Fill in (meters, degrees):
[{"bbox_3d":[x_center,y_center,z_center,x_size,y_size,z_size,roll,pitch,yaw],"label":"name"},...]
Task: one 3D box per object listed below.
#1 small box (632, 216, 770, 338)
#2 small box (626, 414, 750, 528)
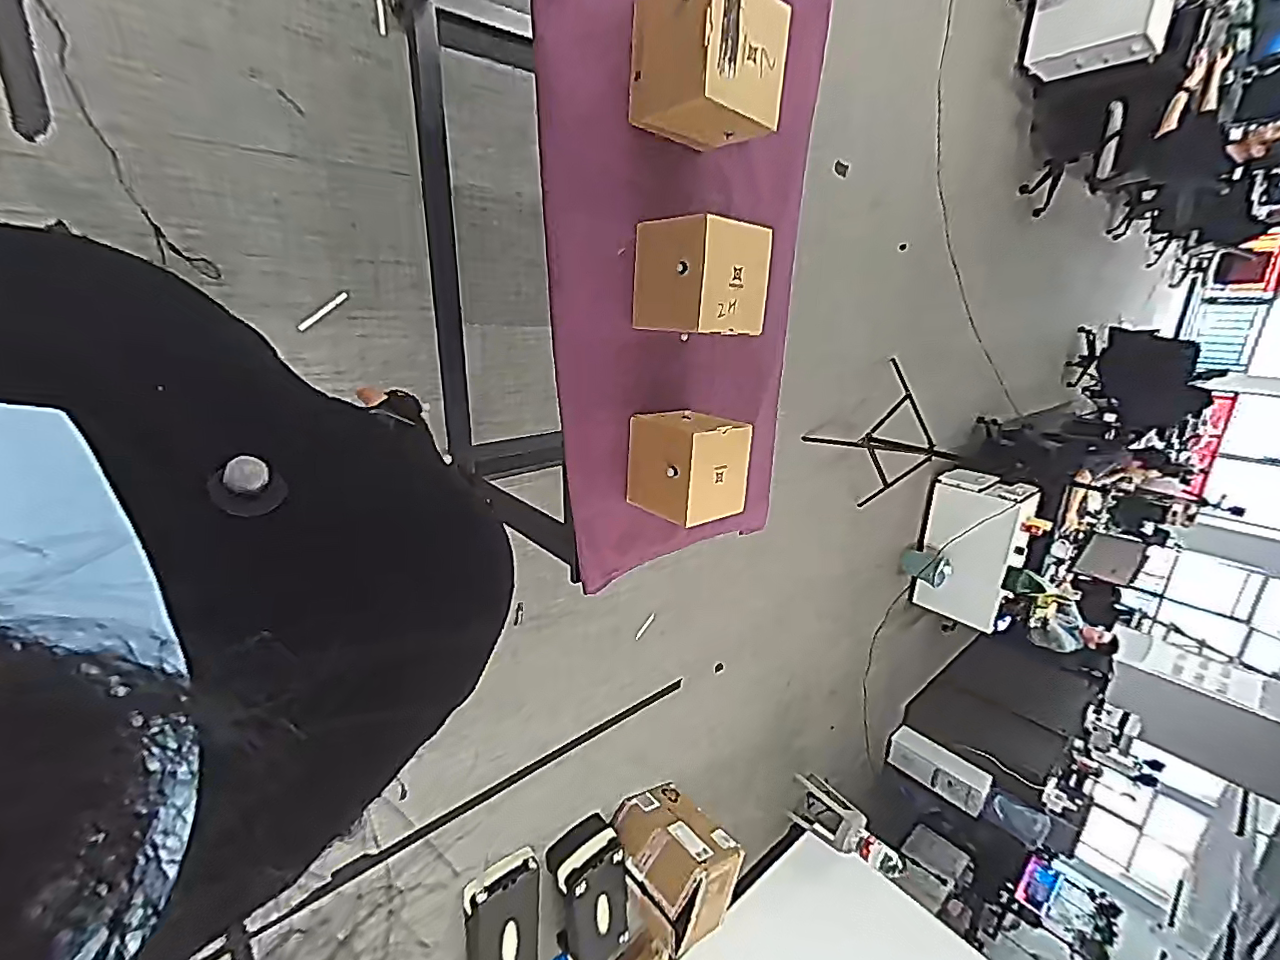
[{"bbox_3d":[0.101,-0.346,0.945,0.168,0.176,0.179,-10,111,-39],"label":"small box"},{"bbox_3d":[0.086,-0.025,1.044,0.168,0.176,0.179,-10,110,-41],"label":"small box"}]
